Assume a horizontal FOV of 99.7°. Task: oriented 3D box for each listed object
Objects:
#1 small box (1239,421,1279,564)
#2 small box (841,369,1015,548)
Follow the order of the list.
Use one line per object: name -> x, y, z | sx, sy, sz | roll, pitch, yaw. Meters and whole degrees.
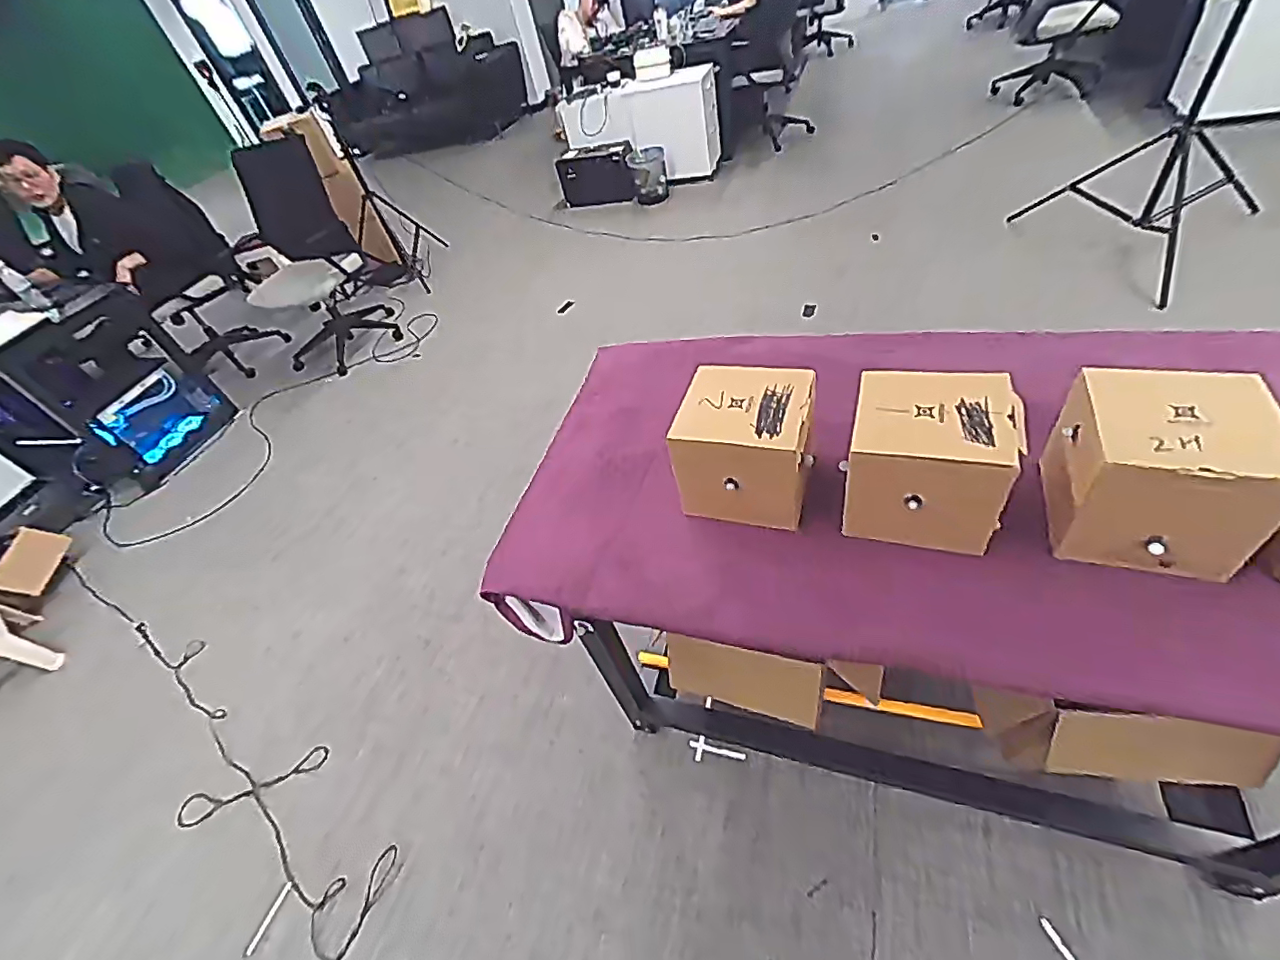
small box -> 0.799, 0.001, 0.566 | 0.168, 0.176, 0.179 | 8, 49, 23
small box -> 0.373, -0.028, 0.722 | 0.179, 0.176, 0.168 | 7, 49, 23
